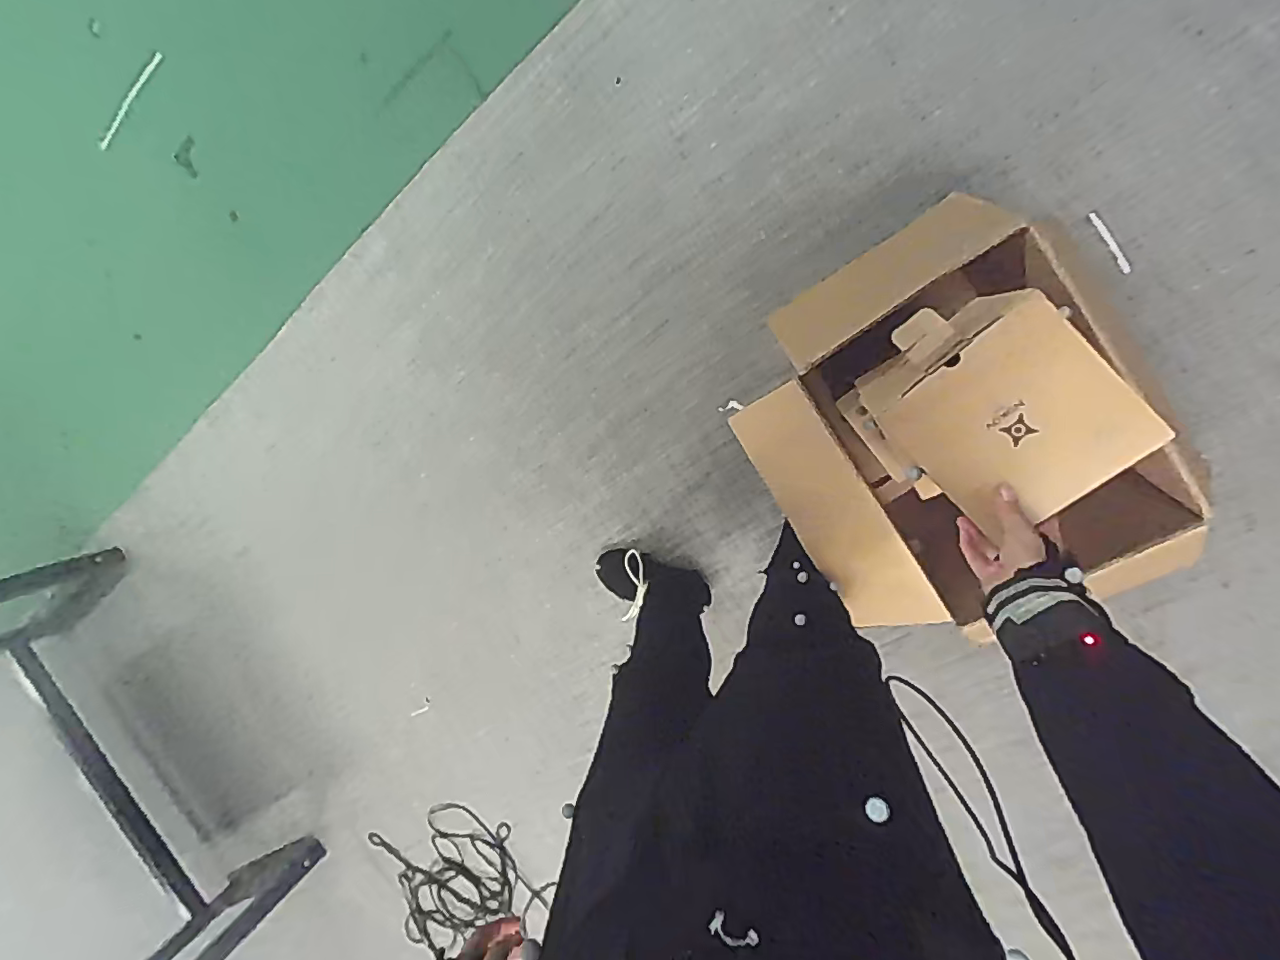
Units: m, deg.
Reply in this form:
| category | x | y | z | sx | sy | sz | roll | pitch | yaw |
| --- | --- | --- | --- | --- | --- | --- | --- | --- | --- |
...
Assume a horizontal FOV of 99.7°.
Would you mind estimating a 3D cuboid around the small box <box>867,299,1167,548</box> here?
| category | x | y | z | sx | sy | sz | roll | pitch | yaw |
| --- | --- | --- | --- | --- | --- | --- | --- | --- | --- |
| small box | 0.365 | -0.066 | 0.567 | 0.168 | 0.176 | 0.179 | -43 | 88 | 22 |

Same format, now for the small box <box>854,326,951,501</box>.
| category | x | y | z | sx | sy | sz | roll | pitch | yaw |
| --- | --- | --- | --- | --- | --- | --- | --- | --- | --- |
| small box | 0.406 | -0.100 | 0.720 | 0.179 | 0.176 | 0.168 | -29 | 95 | 23 |
